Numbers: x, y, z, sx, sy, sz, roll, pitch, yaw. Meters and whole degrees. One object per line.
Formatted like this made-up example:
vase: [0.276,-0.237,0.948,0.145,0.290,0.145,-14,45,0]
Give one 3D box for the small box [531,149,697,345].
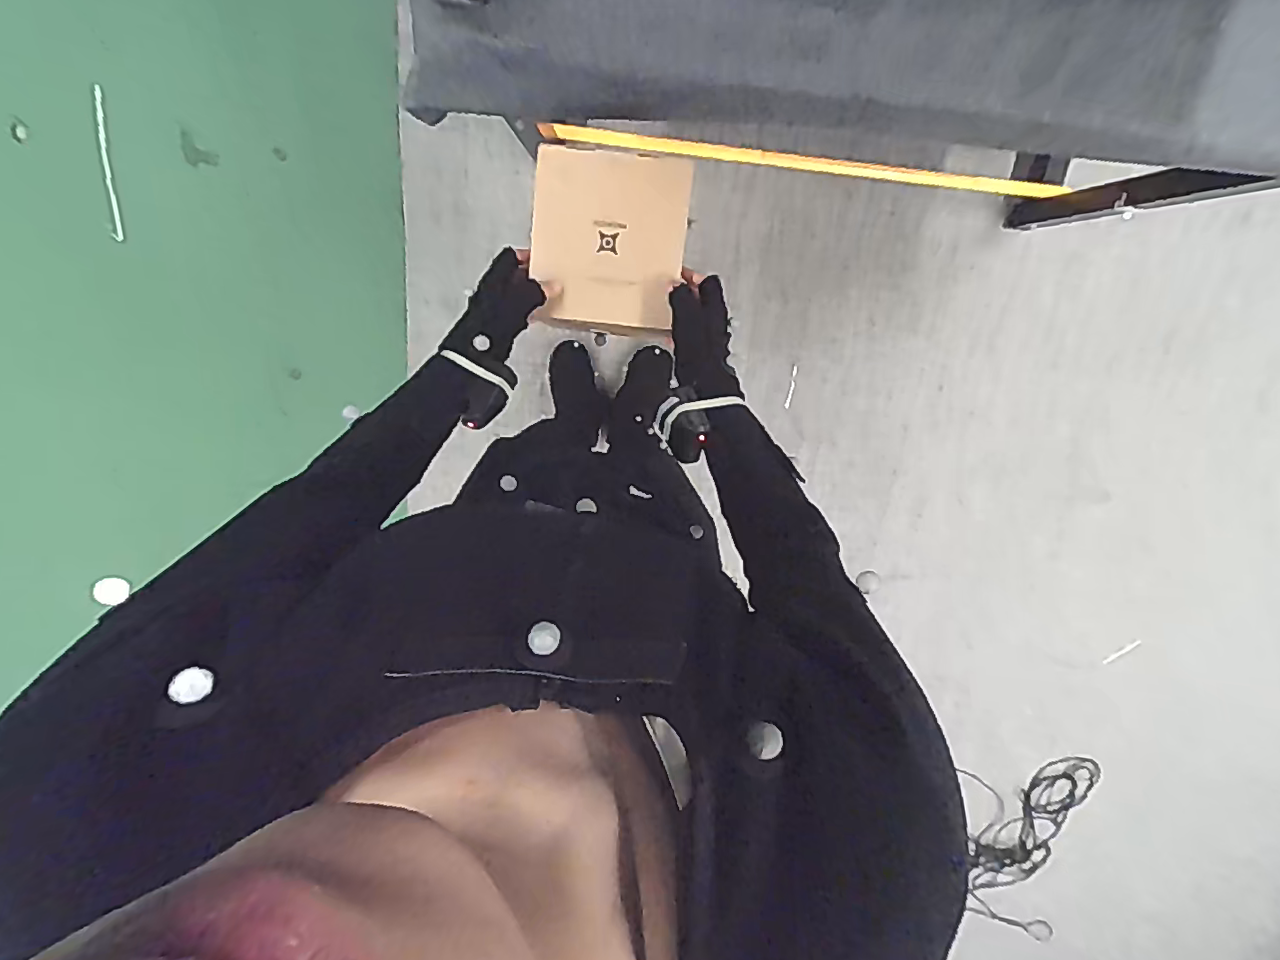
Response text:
small box: [-0.028,-0.268,0.660,0.168,0.176,0.179,6,100,1]
